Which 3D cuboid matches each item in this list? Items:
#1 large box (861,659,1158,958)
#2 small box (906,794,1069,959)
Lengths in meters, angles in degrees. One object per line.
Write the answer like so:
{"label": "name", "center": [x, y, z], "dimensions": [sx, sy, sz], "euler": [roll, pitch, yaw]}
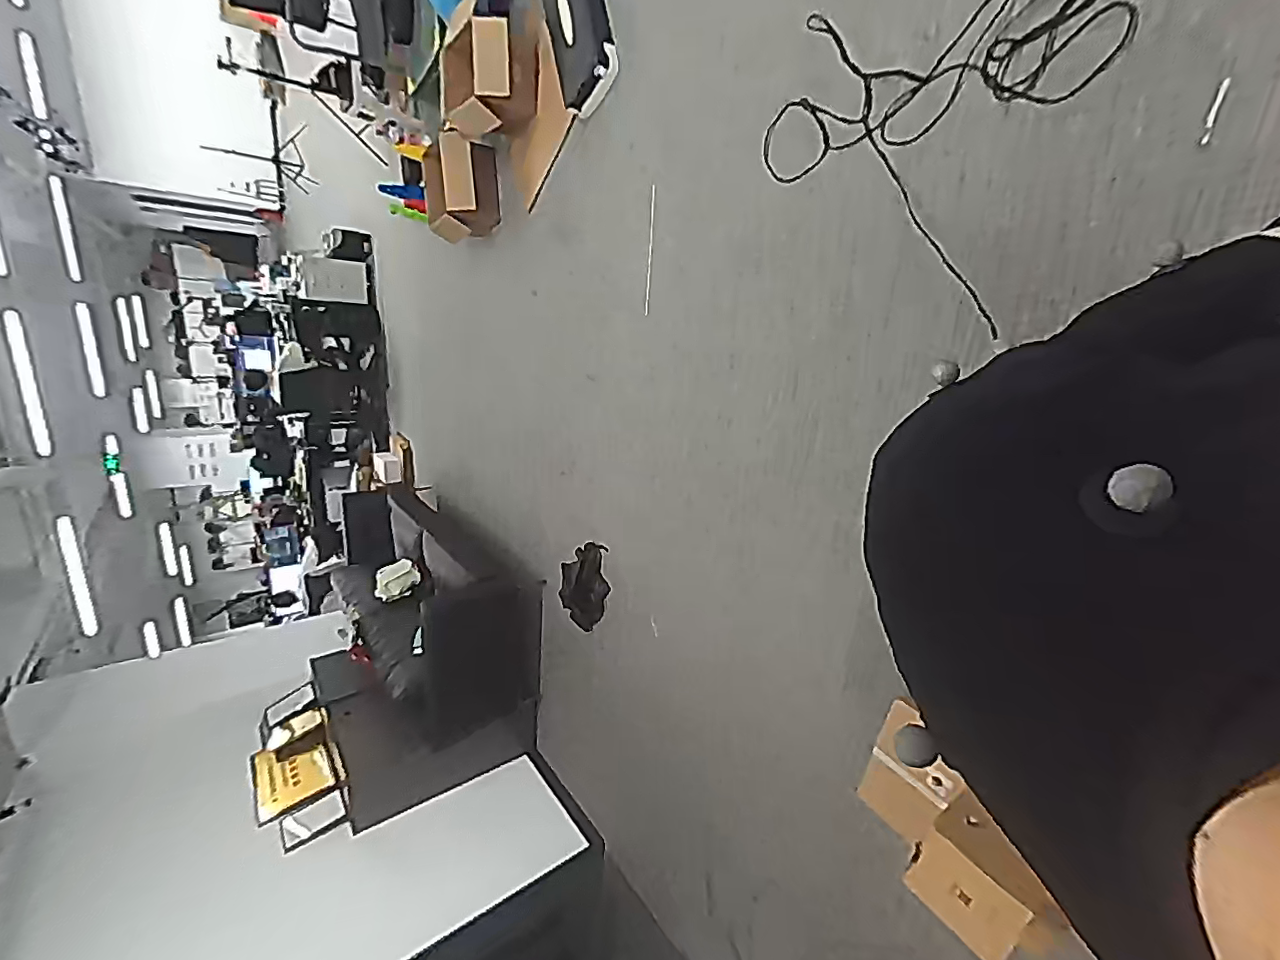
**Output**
{"label": "large box", "center": [0.784, 0.672, 1.186], "dimensions": [0.408, 0.320, 0.320], "euler": [34, 122, 46]}
{"label": "small box", "center": [0.633, 0.715, 0.989], "dimensions": [0.179, 0.176, 0.168], "euler": [31, 122, 45]}
